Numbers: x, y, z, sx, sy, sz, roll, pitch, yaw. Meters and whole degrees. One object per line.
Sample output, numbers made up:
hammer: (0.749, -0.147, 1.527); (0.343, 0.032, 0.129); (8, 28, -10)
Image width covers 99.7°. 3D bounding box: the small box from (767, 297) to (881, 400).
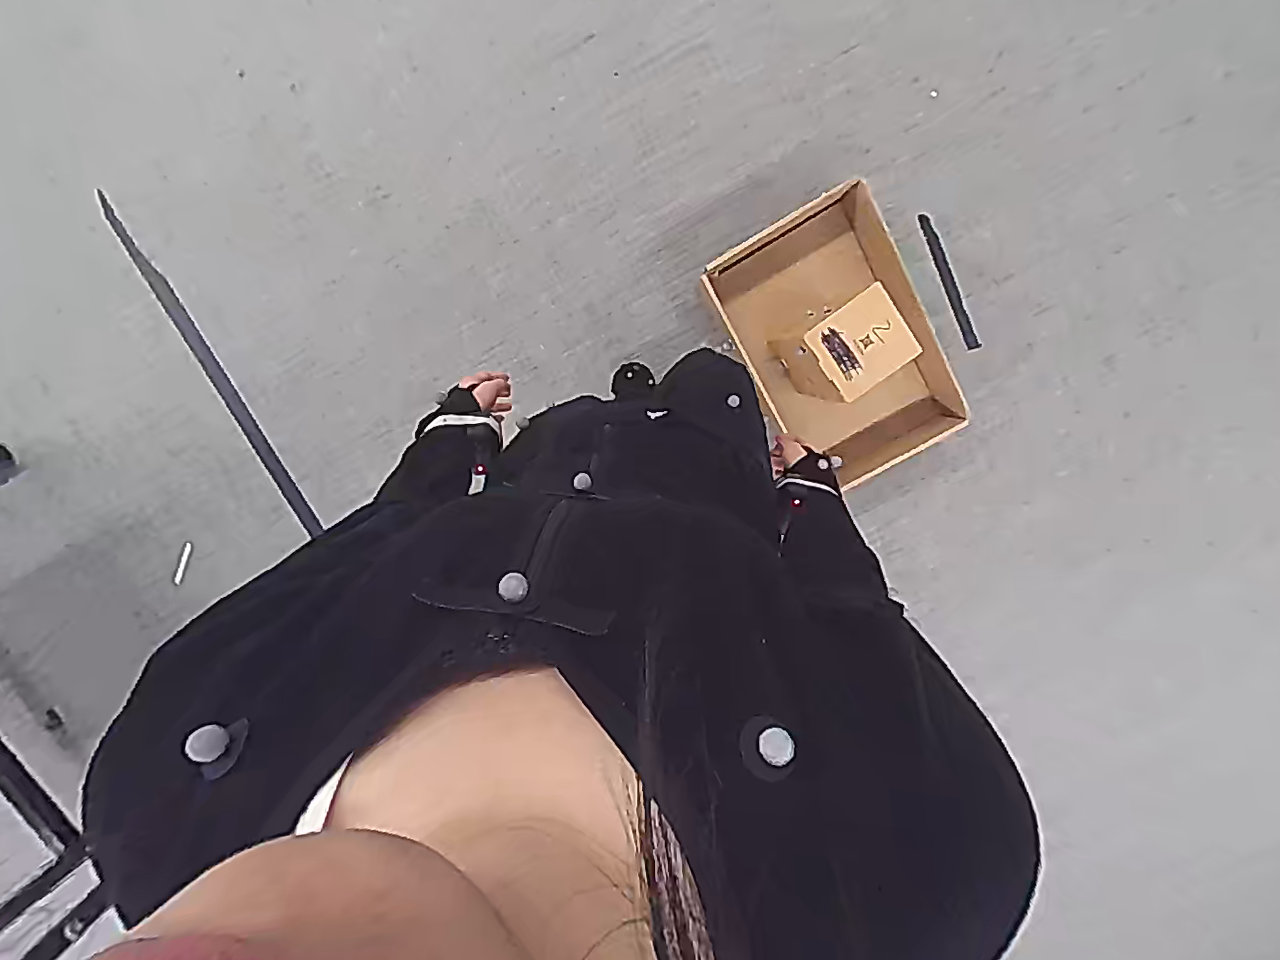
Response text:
small box: (0.431, -0.312, 1.295); (0.179, 0.176, 0.168); (-34, 99, 9)
